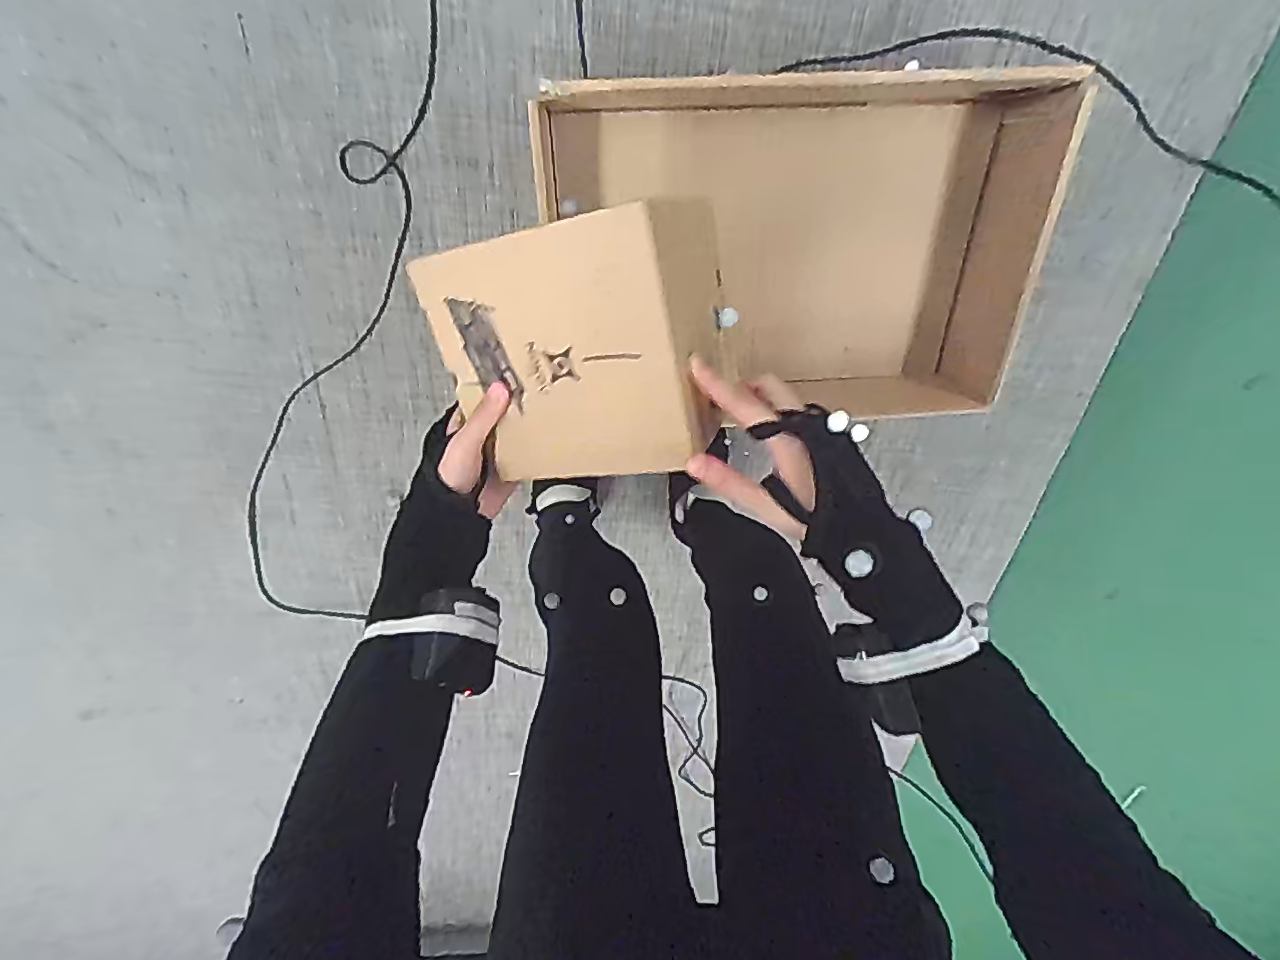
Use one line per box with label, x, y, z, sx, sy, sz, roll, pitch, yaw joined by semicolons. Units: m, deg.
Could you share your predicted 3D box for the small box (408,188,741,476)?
small box;-0.032;-0.113;0.419;0.179;0.176;0.168;-3;114;24
